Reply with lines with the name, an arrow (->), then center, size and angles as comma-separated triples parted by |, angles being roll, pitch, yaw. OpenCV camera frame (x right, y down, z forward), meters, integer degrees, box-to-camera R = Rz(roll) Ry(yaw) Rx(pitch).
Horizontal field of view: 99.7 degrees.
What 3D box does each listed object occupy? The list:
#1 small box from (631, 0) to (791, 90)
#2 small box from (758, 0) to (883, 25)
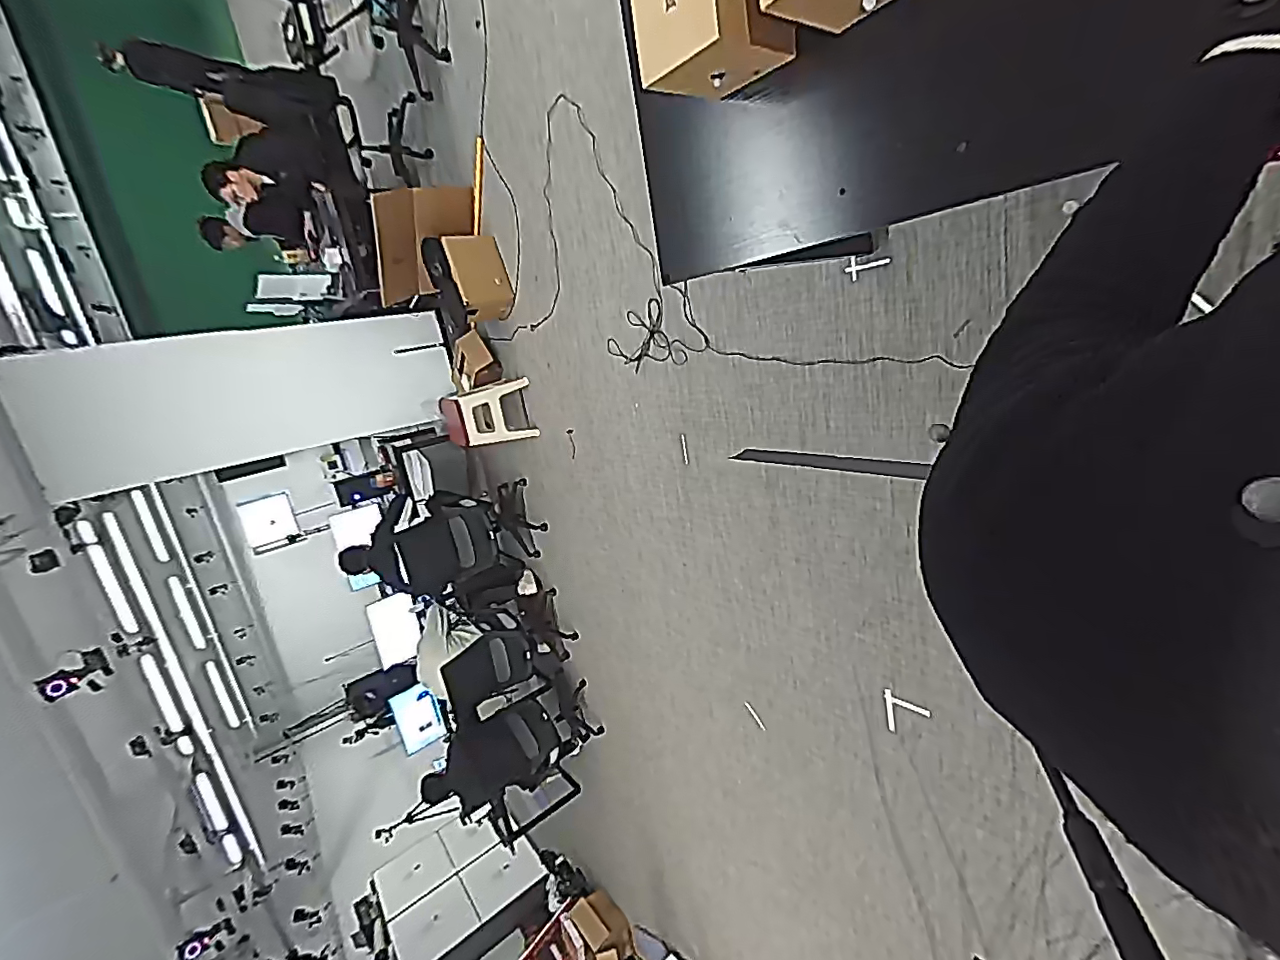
small box -> 0.104, -0.699, 0.789 | 0.168, 0.176, 0.179 | 14, 117, 50
small box -> 0.240, -0.668, 0.613 | 0.168, 0.176, 0.179 | 8, 115, 52
